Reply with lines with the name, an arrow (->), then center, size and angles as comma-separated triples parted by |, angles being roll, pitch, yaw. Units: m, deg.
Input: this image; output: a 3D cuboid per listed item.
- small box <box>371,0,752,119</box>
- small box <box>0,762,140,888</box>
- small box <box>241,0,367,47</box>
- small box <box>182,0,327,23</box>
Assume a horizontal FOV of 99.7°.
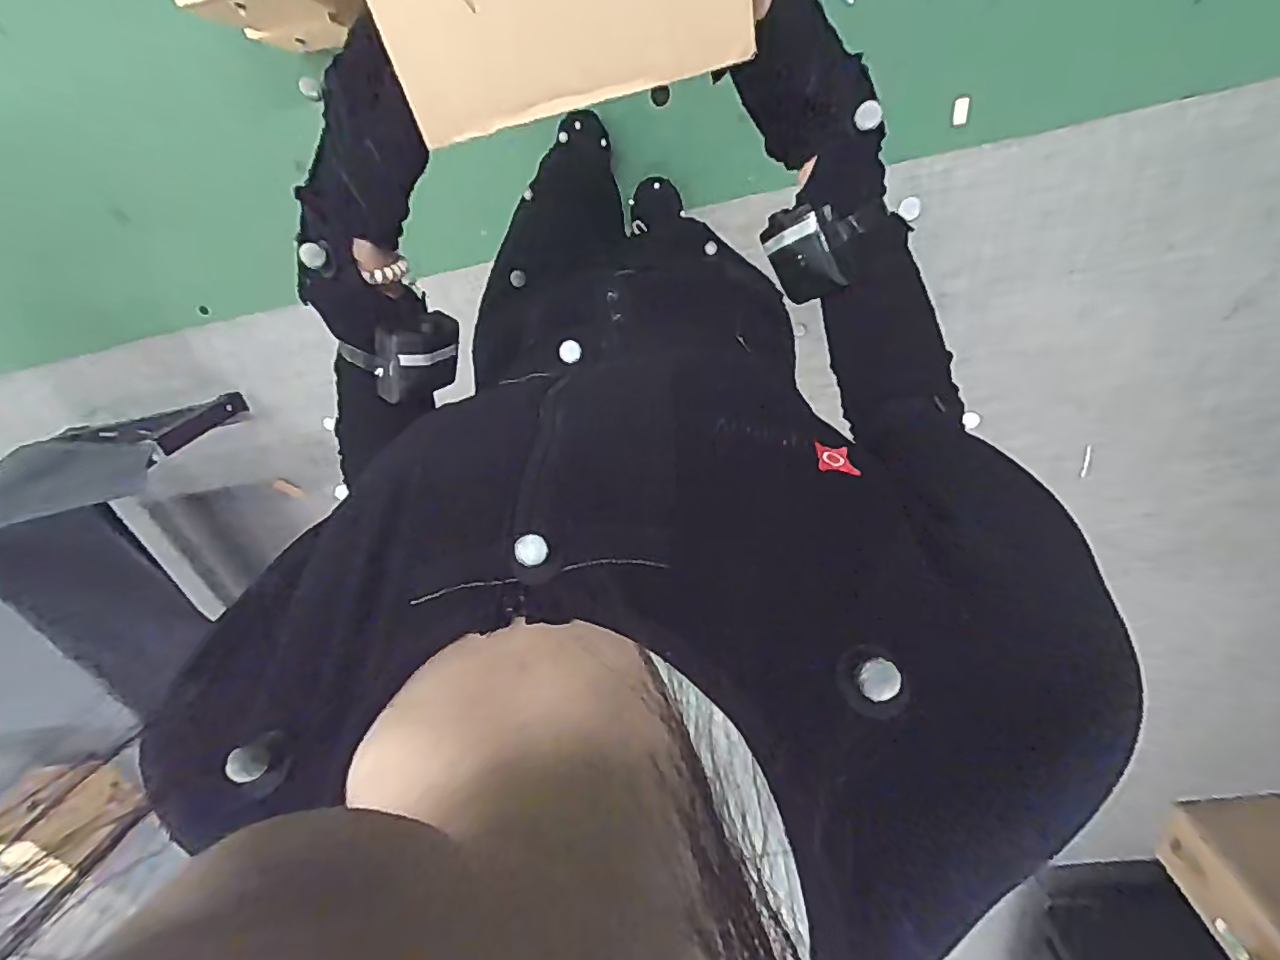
small box -> -0.051, -0.311, 0.282 | 0.179, 0.176, 0.168 | -12, 128, 4
small box -> -1.250, 0.732, 1.153 | 0.179, 0.176, 0.168 | -9, 120, 6
small box -> -0.643, -0.930, 1.003 | 0.168, 0.176, 0.179 | -5, 120, 5
small box -> -0.640, -0.856, 0.855 | 0.179, 0.176, 0.168 | -6, 120, 6
